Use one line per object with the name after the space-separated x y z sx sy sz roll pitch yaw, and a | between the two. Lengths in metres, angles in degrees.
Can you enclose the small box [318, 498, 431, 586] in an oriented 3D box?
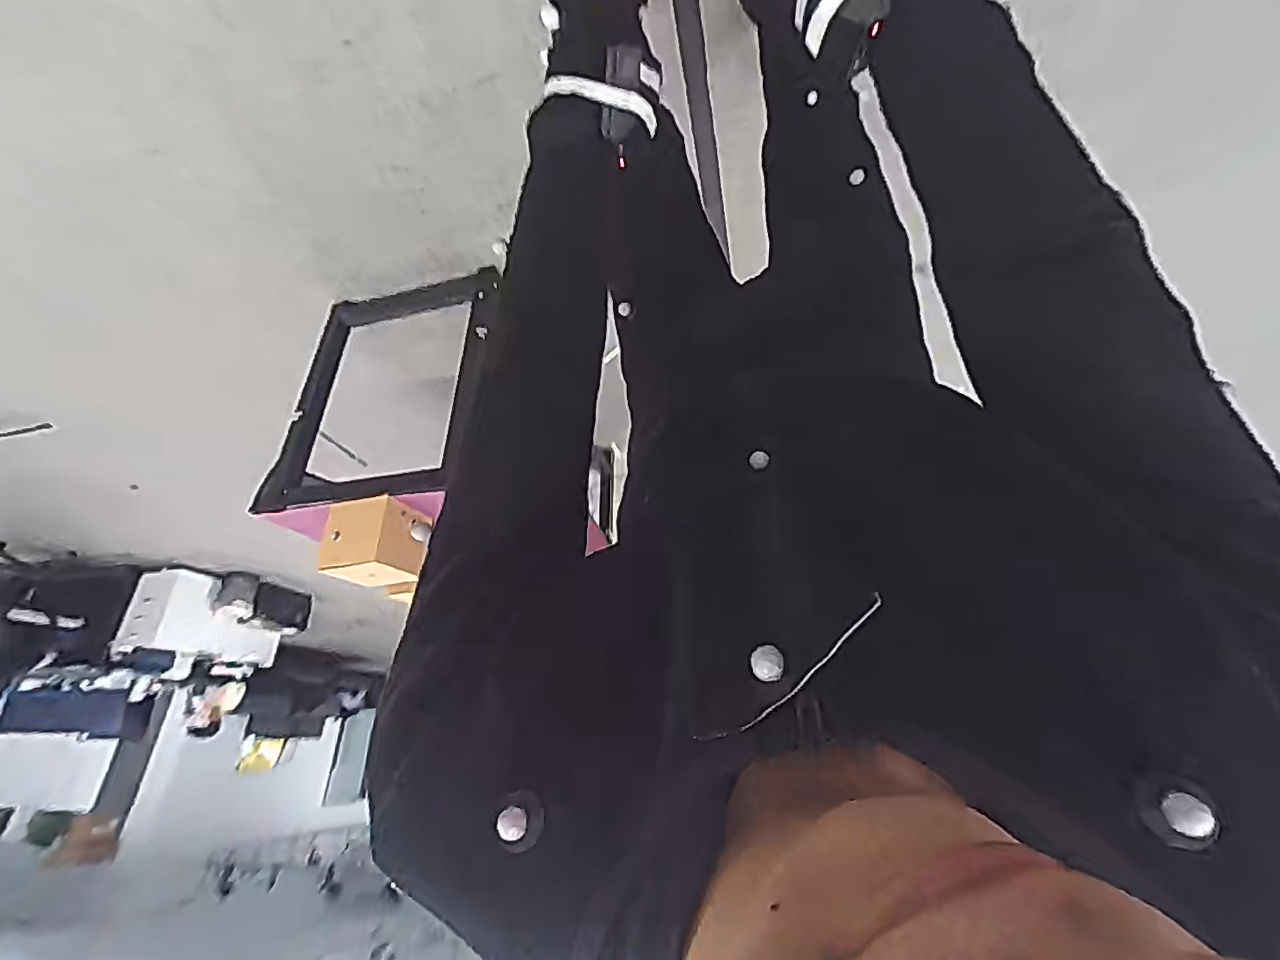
-0.644 0.156 1.335 0.179 0.176 0.168 -9 154 17 | small box
